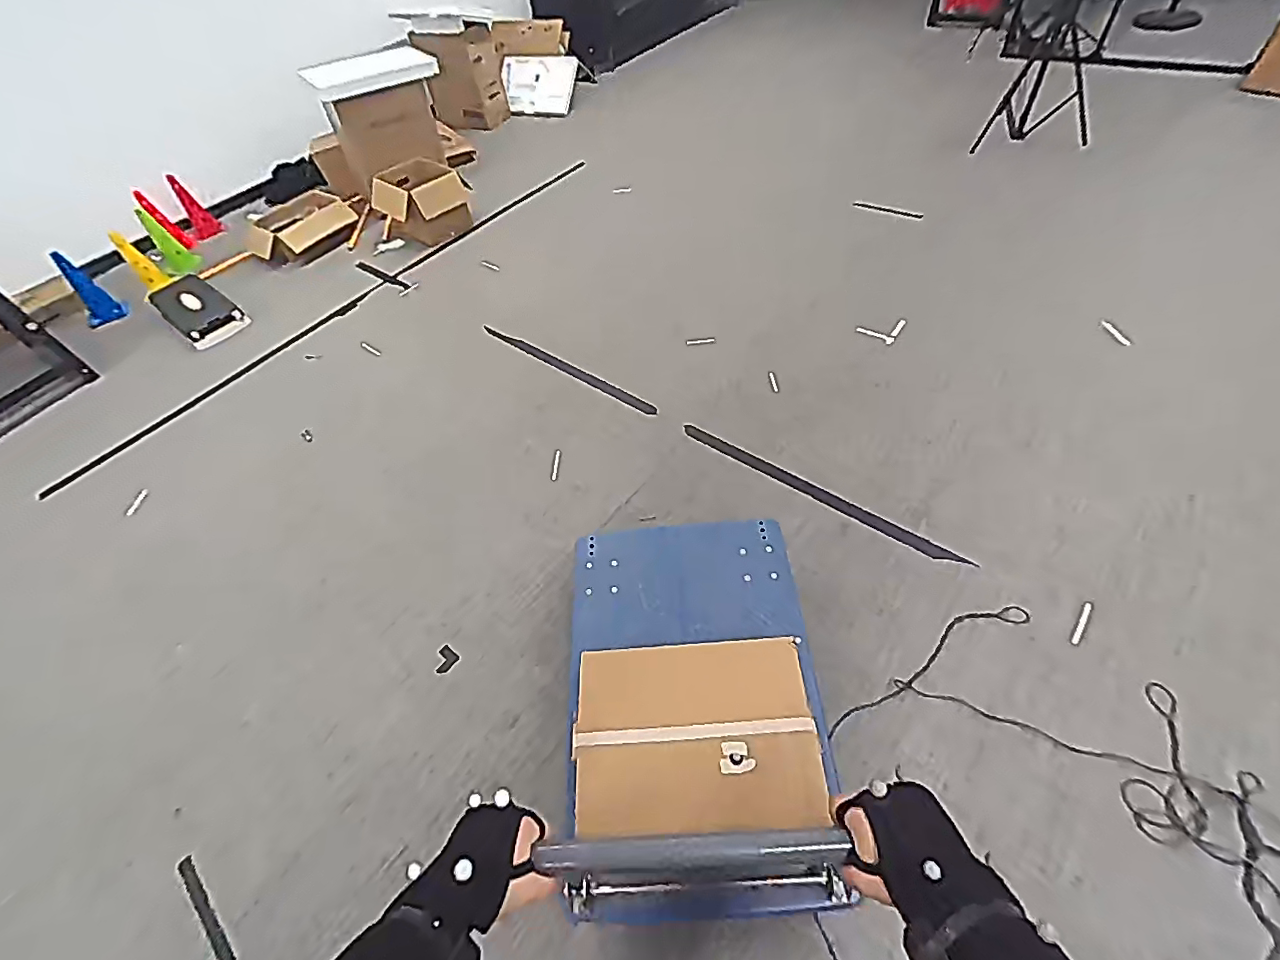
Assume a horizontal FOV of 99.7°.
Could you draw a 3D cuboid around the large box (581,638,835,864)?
[{"bbox_3d":[0.109,0.529,1.043,0.408,0.320,0.320,-5,52,3],"label":"large box"}]
